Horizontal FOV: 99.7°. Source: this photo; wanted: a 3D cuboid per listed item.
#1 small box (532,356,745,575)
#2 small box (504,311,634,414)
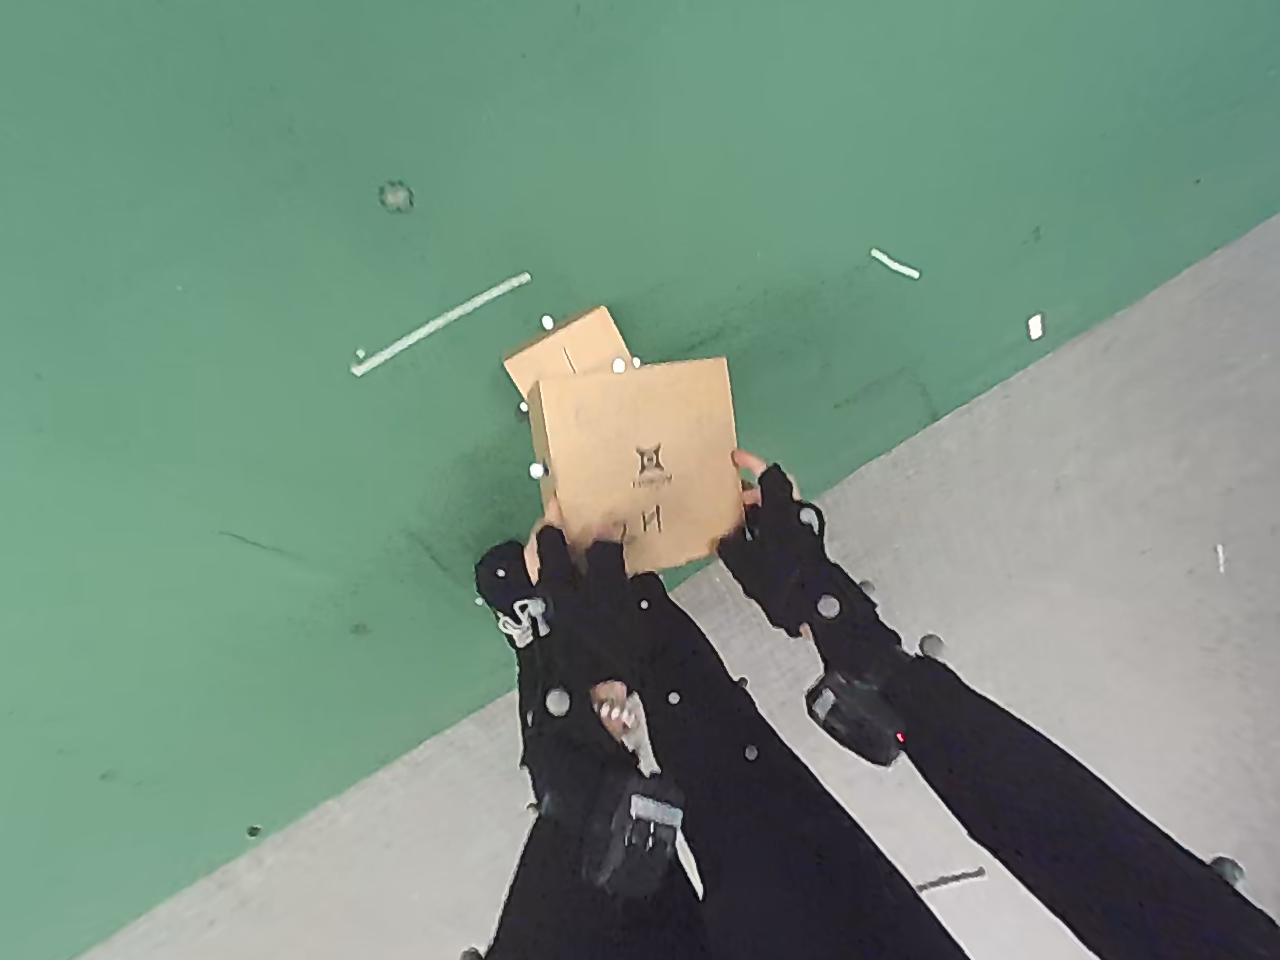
[{"bbox_3d":[-0.012,-0.020,0.546,0.168,0.176,0.179,-9,97,-14],"label":"small box"},{"bbox_3d":[-0.097,-0.152,0.849,0.168,0.176,0.179,-31,112,-3],"label":"small box"}]
